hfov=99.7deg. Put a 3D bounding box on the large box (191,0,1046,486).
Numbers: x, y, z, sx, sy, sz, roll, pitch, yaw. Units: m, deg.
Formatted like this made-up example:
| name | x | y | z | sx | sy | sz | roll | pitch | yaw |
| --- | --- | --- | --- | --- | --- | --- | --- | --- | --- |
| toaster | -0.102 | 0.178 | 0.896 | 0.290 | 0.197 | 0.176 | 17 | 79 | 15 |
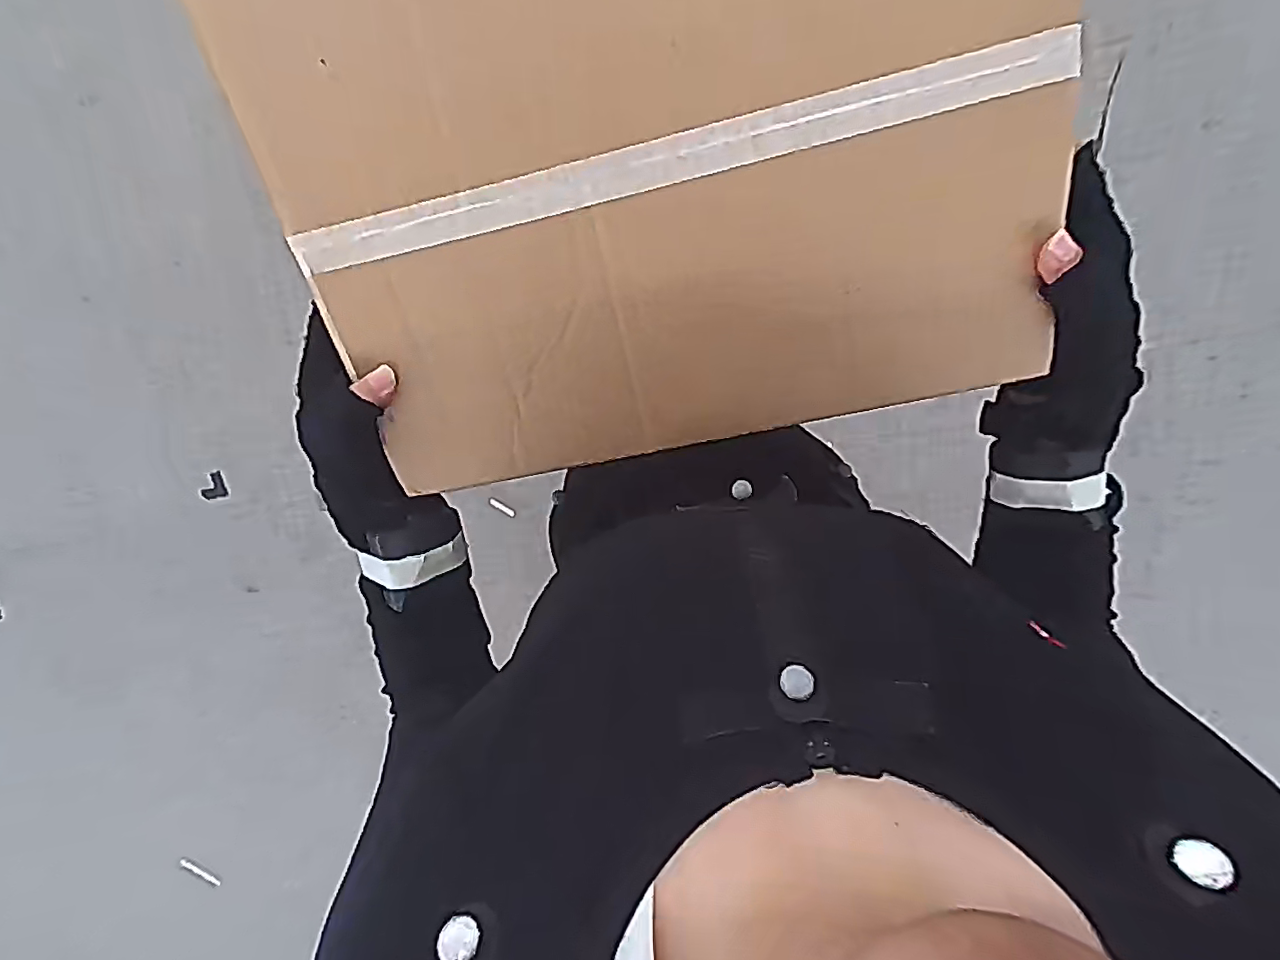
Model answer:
| name | x | y | z | sx | sy | sz | roll | pitch | yaw |
| --- | --- | --- | --- | --- | --- | --- | --- | --- | --- |
| large box | 0.008 | -0.233 | 0.421 | 0.408 | 0.320 | 0.320 | -11 | 114 | 7 |
